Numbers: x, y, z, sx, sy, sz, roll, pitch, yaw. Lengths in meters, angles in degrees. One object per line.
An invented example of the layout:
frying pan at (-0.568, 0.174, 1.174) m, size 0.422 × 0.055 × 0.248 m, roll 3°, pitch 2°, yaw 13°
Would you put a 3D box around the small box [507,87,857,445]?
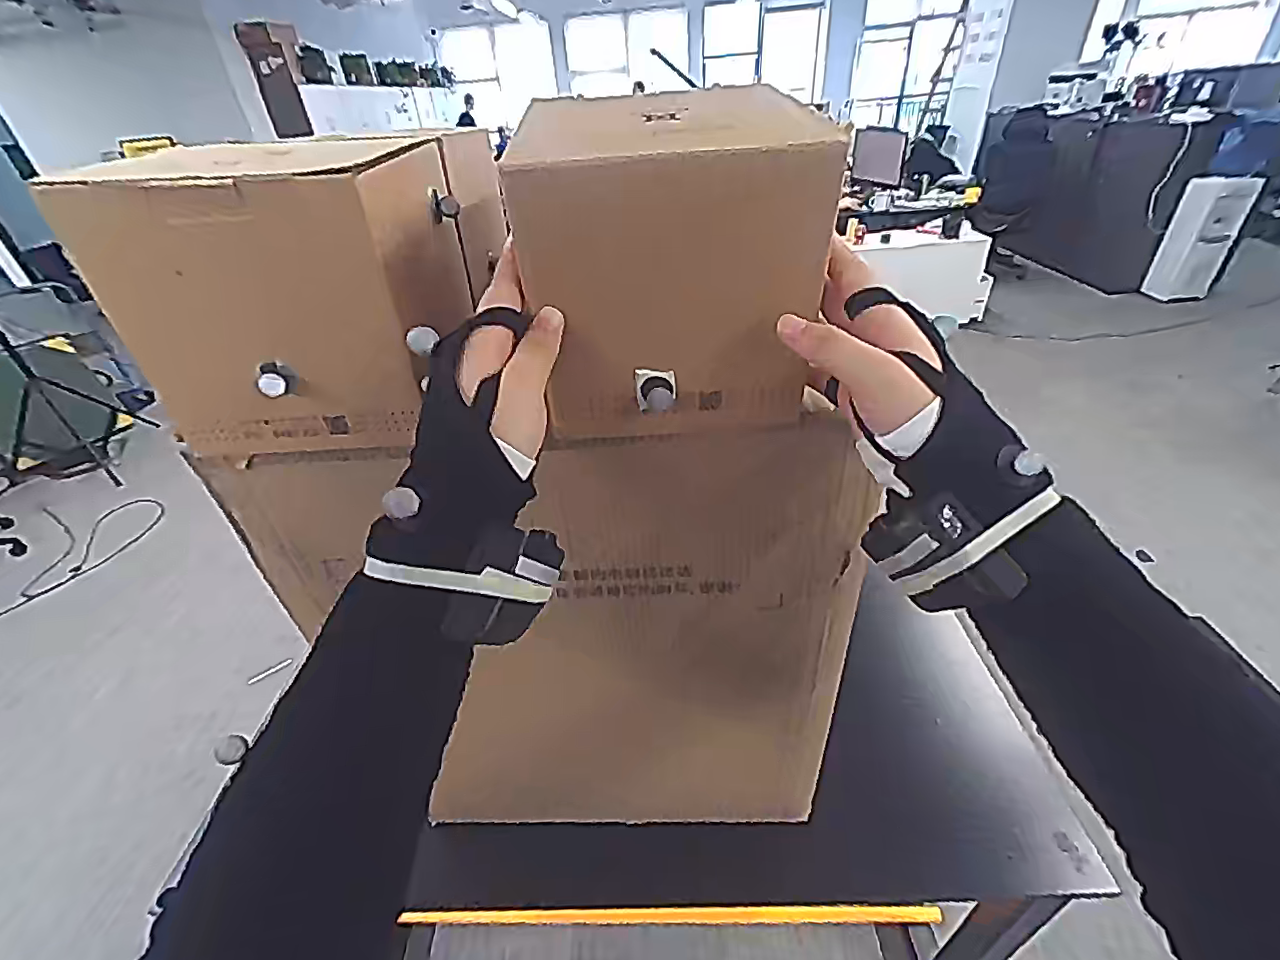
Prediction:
small box at (0.019, -0.145, 0.363) m, size 0.168 × 0.176 × 0.179 m, roll -6°, pitch 43°, yaw -1°
